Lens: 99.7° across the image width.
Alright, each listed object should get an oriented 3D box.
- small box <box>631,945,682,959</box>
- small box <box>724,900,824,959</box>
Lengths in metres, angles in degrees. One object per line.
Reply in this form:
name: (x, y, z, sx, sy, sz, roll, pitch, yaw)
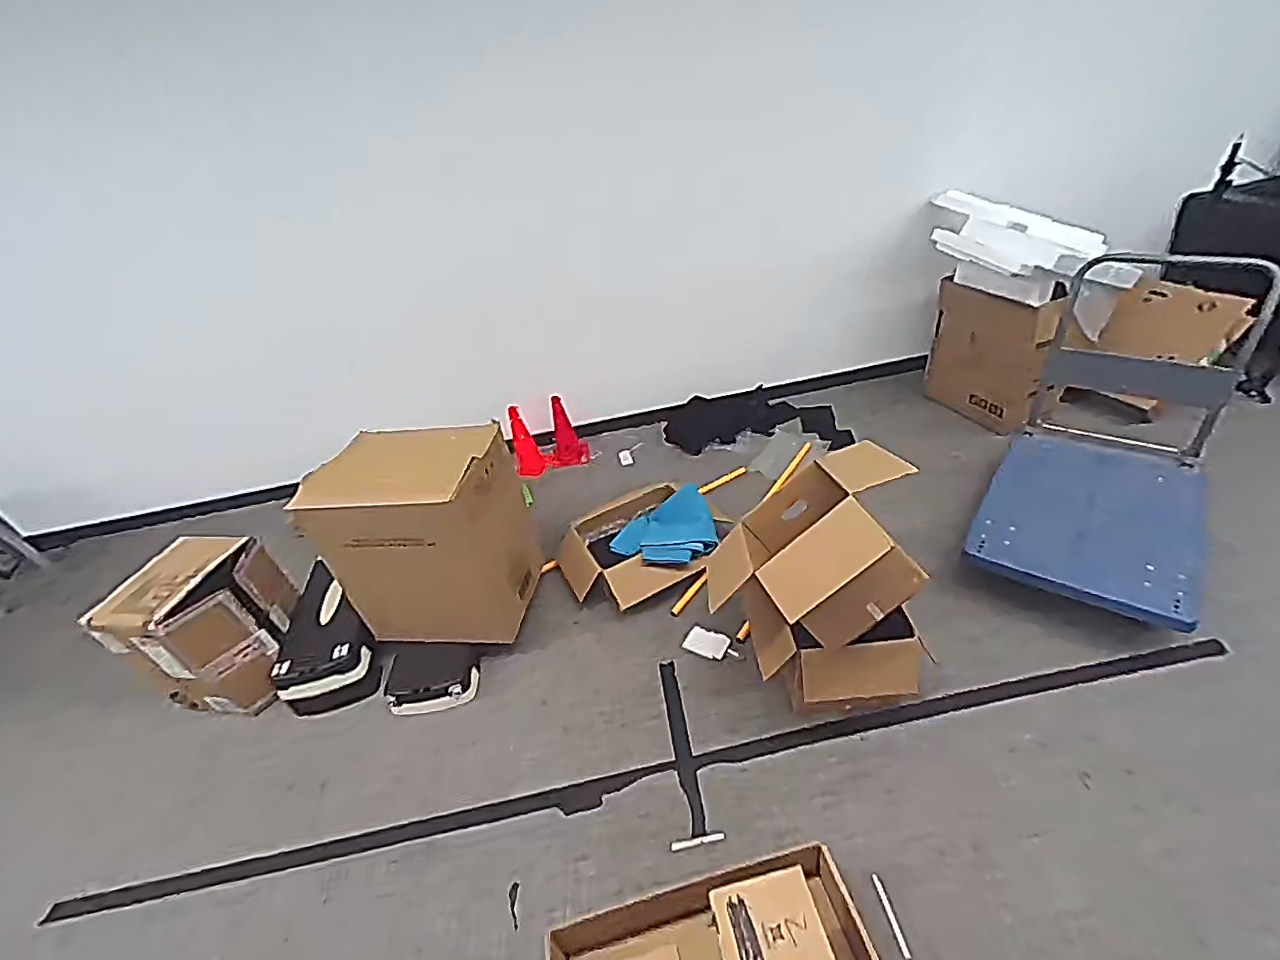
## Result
small box: (0.018, 1.019, 1.009, 0.179, 0.176, 0.168, -14, 35, -8)
small box: (0.269, 0.957, 1.035, 0.168, 0.176, 0.179, -15, 36, -5)
